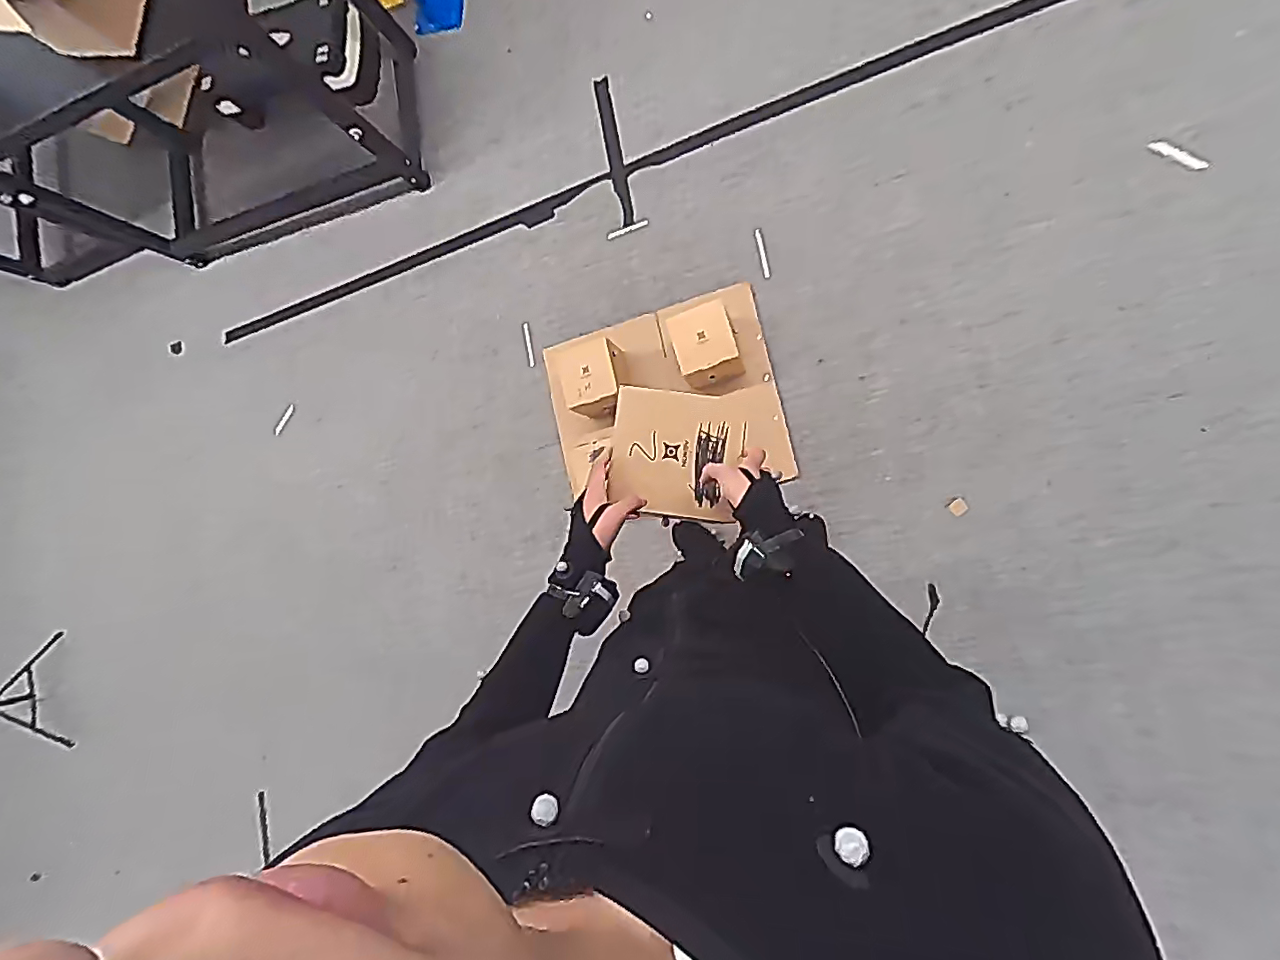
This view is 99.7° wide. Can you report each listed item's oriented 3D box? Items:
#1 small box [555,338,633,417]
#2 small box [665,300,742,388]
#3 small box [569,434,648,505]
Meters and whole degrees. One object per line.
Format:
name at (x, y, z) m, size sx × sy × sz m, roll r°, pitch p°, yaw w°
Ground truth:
small box at (-0.135, -0.305, 1.645) m, size 0.168 × 0.176 × 0.179 m, roll -15°, pitch 84°, yaw 16°
small box at (0.188, -0.385, 1.559) m, size 0.168 × 0.176 × 0.179 m, roll -18°, pitch 83°, yaw 15°
small box at (-0.091, -0.025, 1.619) m, size 0.168 × 0.176 × 0.179 m, roll -16°, pitch 84°, yaw 16°
